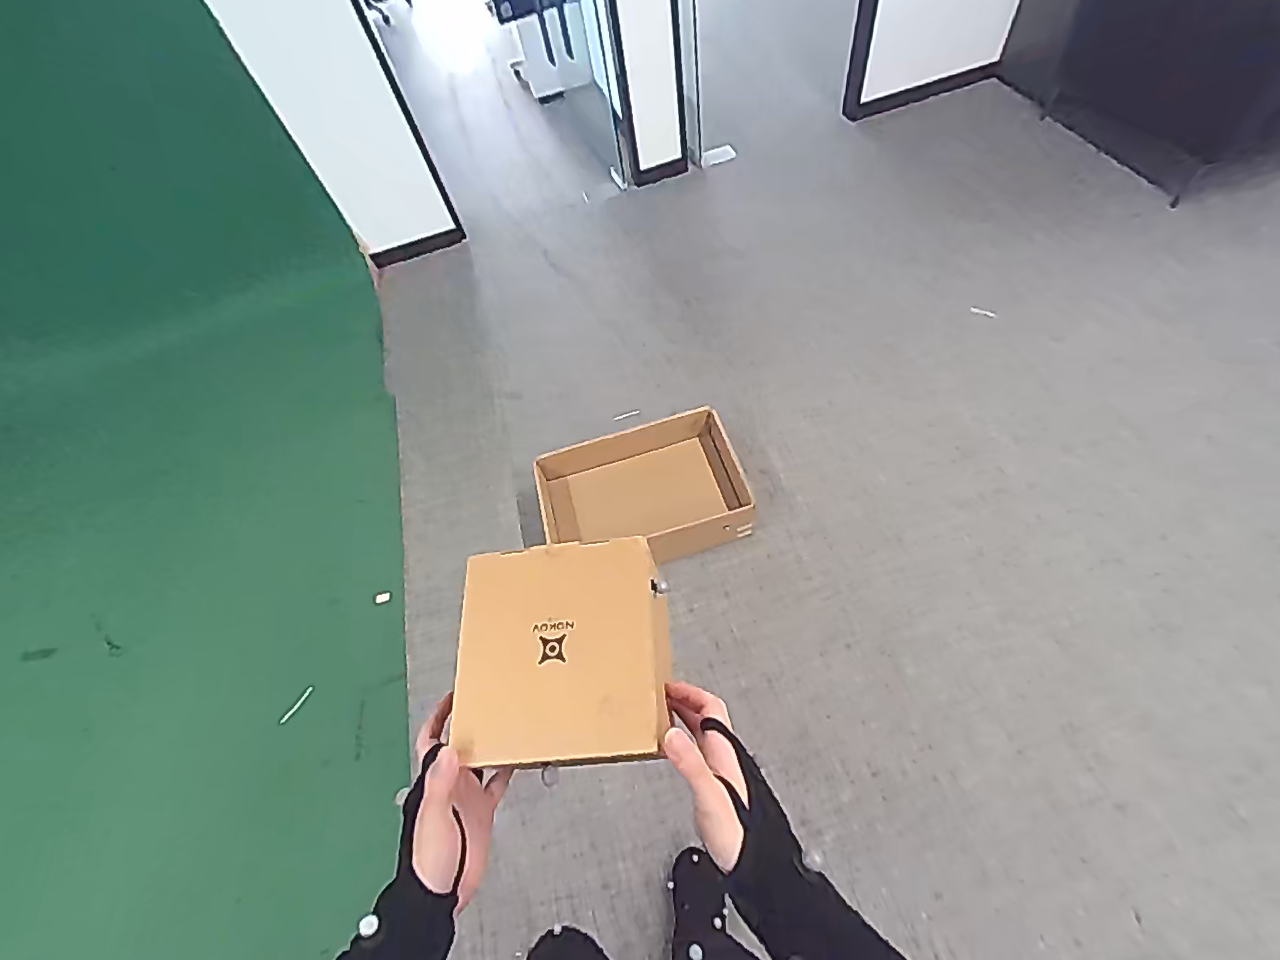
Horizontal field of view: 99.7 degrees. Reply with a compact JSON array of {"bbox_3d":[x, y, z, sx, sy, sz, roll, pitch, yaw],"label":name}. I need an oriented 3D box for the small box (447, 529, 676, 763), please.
[{"bbox_3d":[-0.060,0.168,0.517,0.168,0.176,0.179,-8,58,6],"label":"small box"}]
